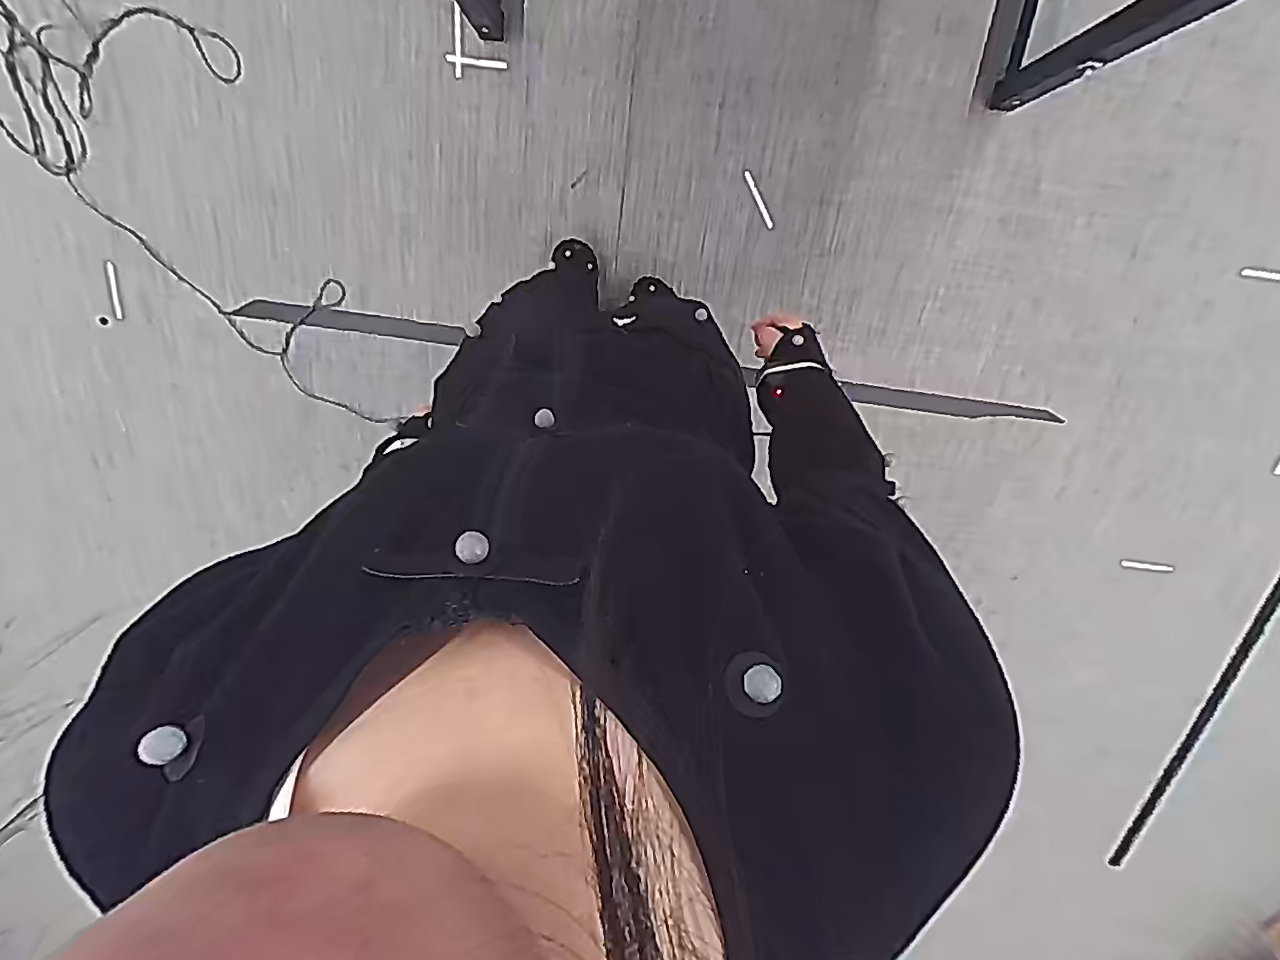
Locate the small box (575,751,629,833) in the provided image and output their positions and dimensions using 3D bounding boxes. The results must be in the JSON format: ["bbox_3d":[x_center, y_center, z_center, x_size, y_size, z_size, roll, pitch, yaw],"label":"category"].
[{"bbox_3d":[-0.125,1.044,1.817,0.168,0.176,0.179,3,110,0],"label":"small box"}]
